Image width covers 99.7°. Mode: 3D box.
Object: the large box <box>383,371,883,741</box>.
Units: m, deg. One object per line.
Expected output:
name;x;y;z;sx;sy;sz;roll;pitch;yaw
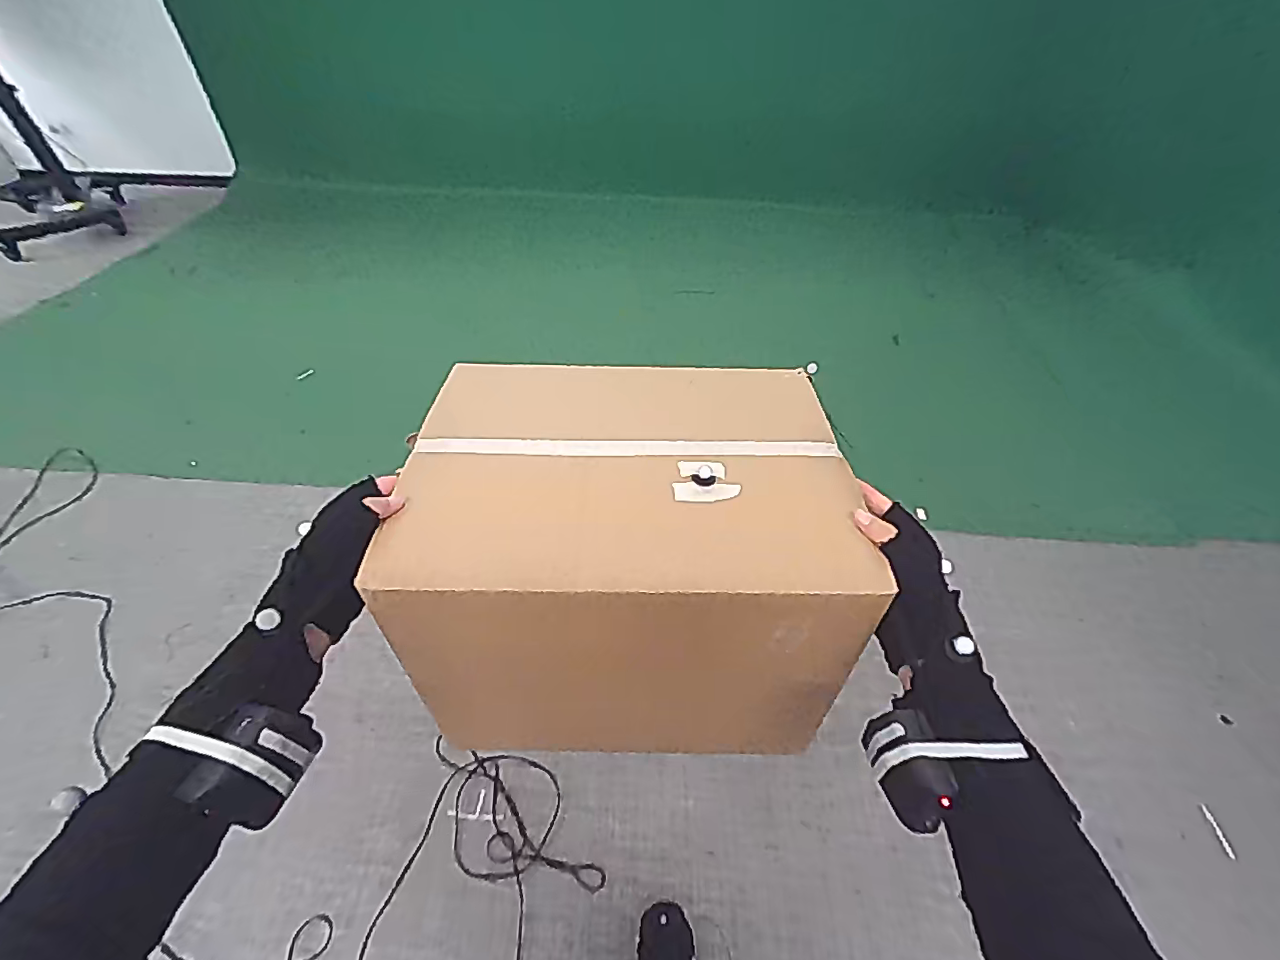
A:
large box;-0.012;0.085;0.630;0.408;0.320;0.320;1;44;-2
